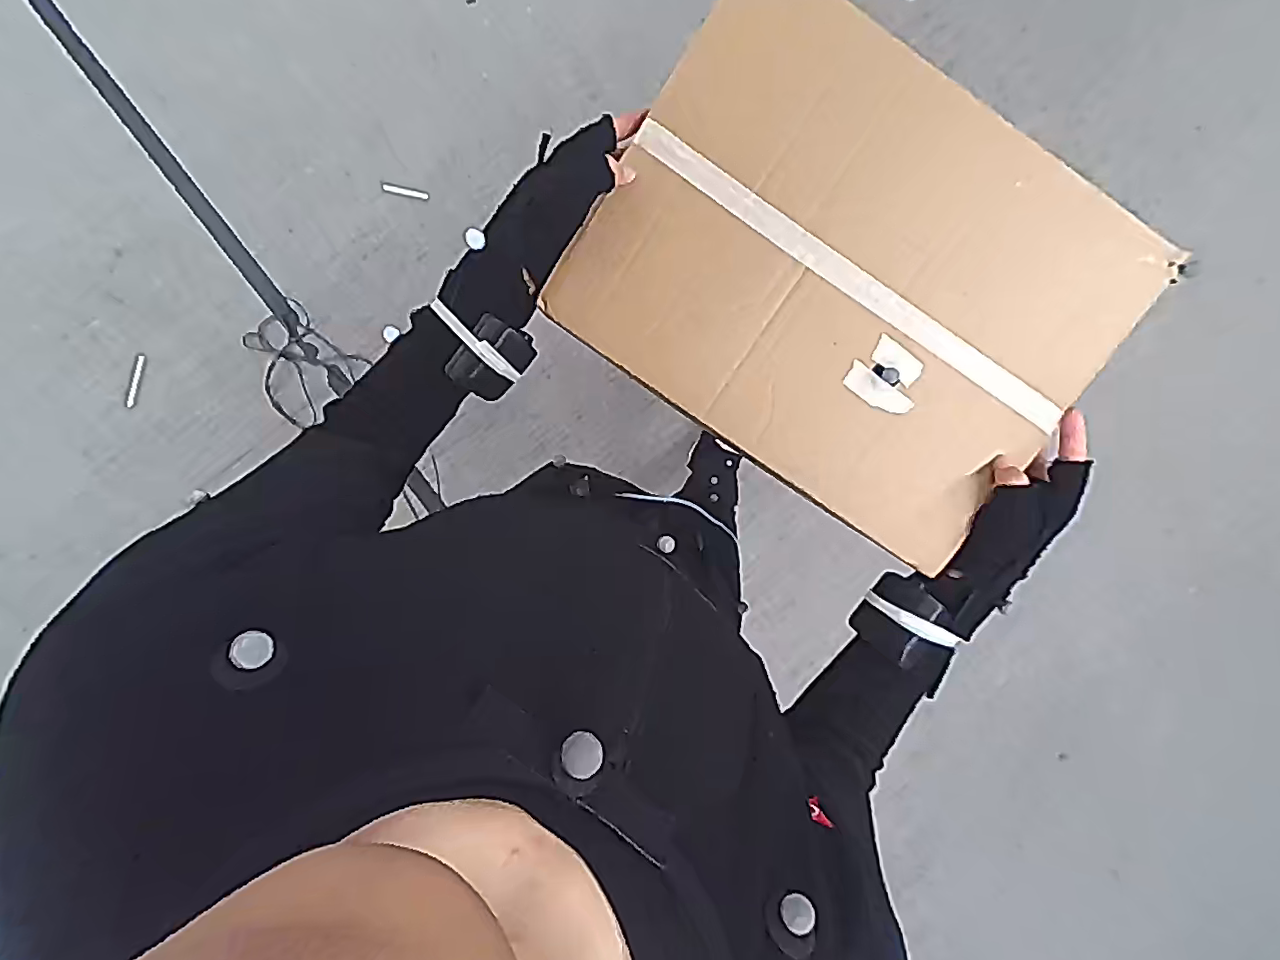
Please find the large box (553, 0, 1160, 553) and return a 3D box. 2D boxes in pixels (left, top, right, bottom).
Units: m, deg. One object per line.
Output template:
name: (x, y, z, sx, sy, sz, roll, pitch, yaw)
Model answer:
large box: (0.174, -0.187, 0.589, 0.408, 0.320, 0.320, 34, 99, -4)
